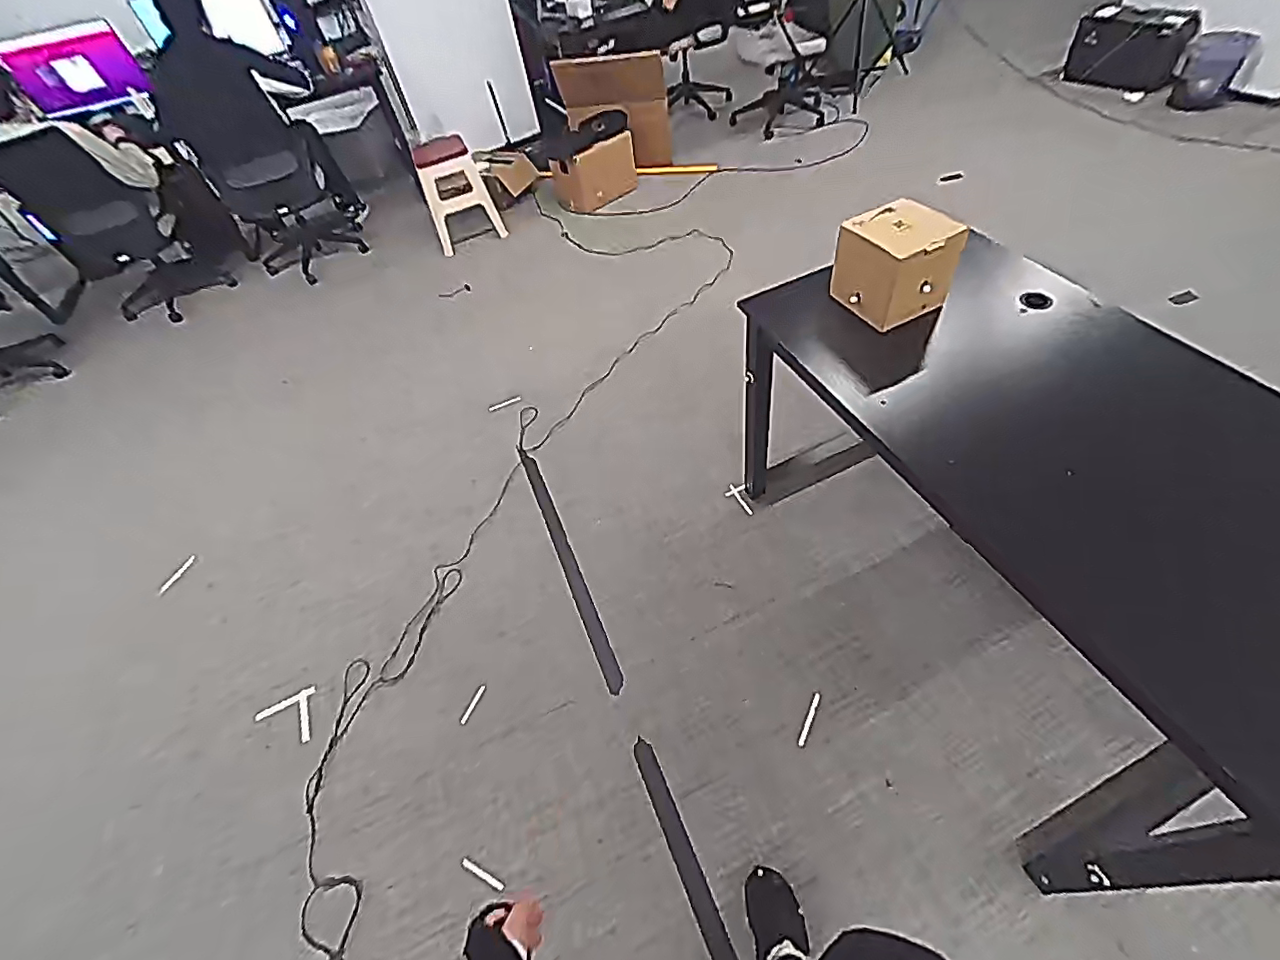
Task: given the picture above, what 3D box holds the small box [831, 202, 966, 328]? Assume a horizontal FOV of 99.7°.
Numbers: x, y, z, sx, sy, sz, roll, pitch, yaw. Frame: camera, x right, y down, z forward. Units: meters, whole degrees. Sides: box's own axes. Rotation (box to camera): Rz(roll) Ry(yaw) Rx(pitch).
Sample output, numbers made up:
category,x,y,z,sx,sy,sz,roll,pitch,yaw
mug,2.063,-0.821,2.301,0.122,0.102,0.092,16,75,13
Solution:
category,x,y,z,sx,sy,sz,roll,pitch,yaw
small box,0.527,-0.440,1.130,0.168,0.176,0.179,-25,53,-10
